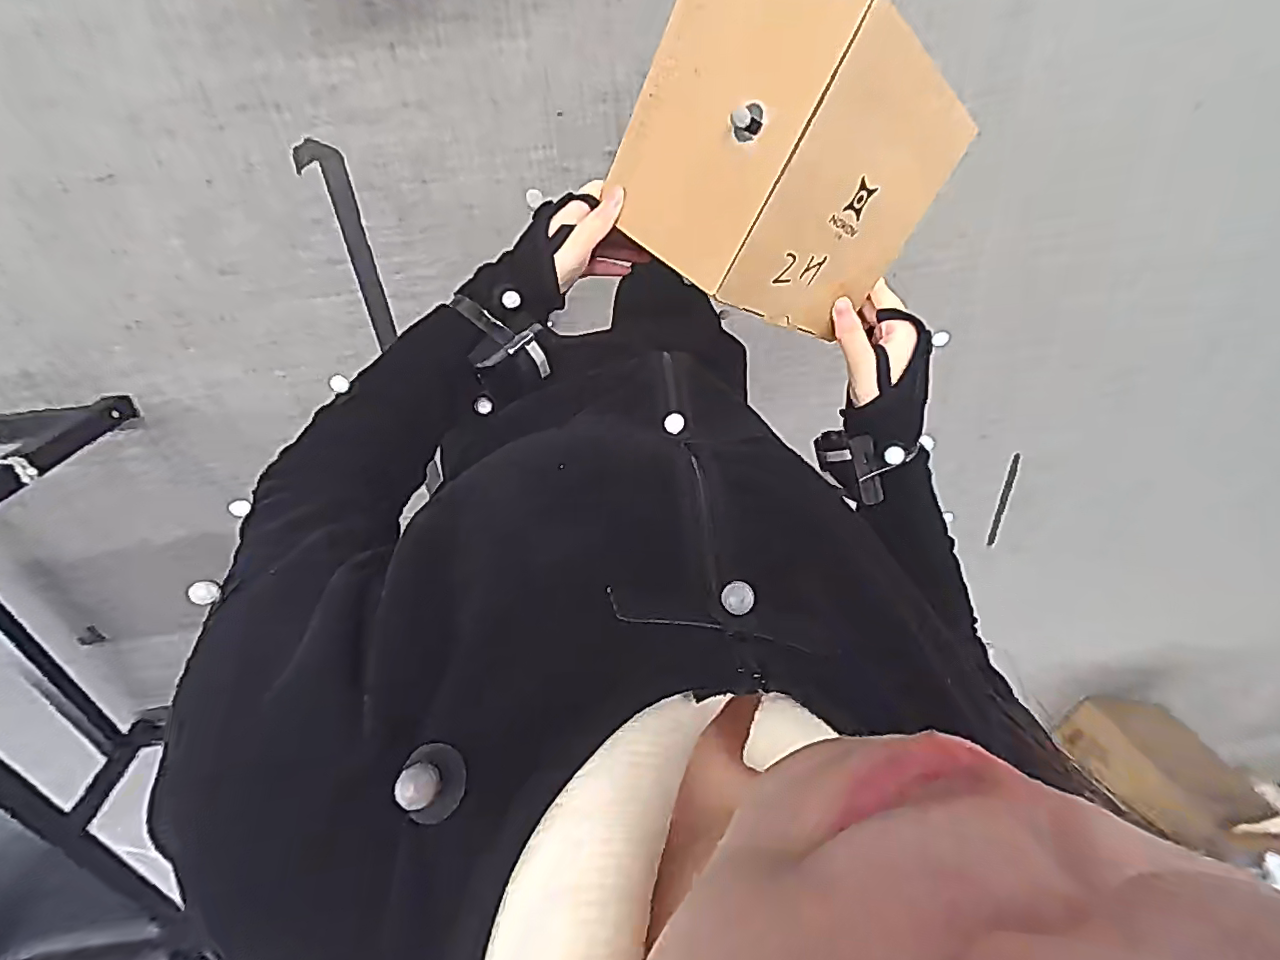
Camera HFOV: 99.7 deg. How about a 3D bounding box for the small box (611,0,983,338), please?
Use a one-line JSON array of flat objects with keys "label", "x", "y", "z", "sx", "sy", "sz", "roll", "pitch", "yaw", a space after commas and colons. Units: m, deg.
[{"label": "small box", "x": 0.104, "y": -0.238, "z": 0.409, "sx": 0.168, "sy": 0.176, "sz": 0.179, "roll": 1, "pitch": 128, "yaw": -43}]
